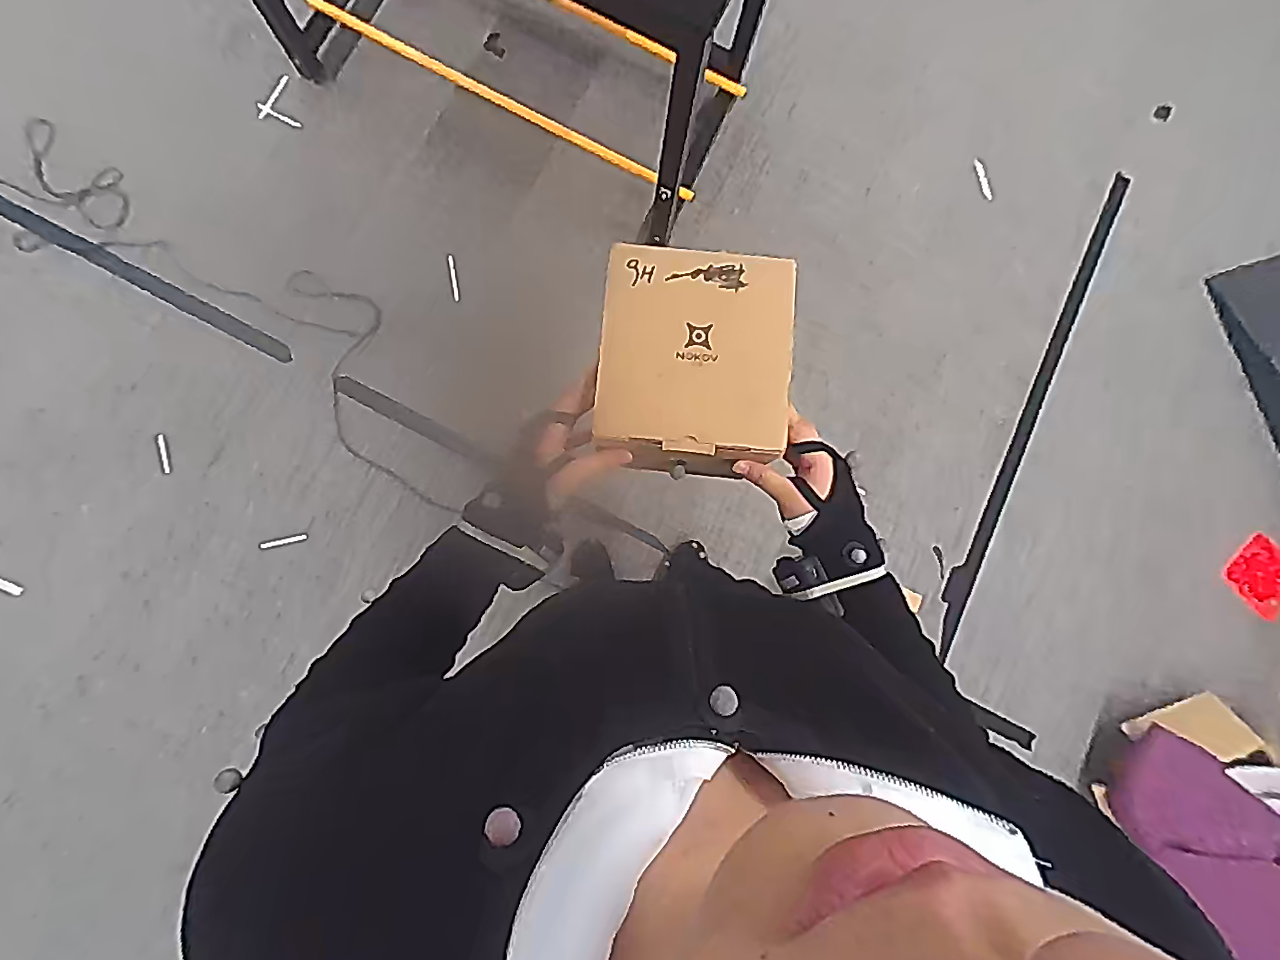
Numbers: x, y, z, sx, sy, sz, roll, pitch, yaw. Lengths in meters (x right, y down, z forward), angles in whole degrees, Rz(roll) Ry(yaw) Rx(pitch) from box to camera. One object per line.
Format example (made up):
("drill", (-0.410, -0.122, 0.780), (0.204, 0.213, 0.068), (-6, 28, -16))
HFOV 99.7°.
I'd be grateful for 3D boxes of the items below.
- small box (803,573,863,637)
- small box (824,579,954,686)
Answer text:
("small box", (0.546, 0.344, 1.375), (0.179, 0.176, 0.168), (25, 82, 0))
("small box", (0.548, 0.330, 1.210), (0.179, 0.176, 0.168), (26, 82, -1))
